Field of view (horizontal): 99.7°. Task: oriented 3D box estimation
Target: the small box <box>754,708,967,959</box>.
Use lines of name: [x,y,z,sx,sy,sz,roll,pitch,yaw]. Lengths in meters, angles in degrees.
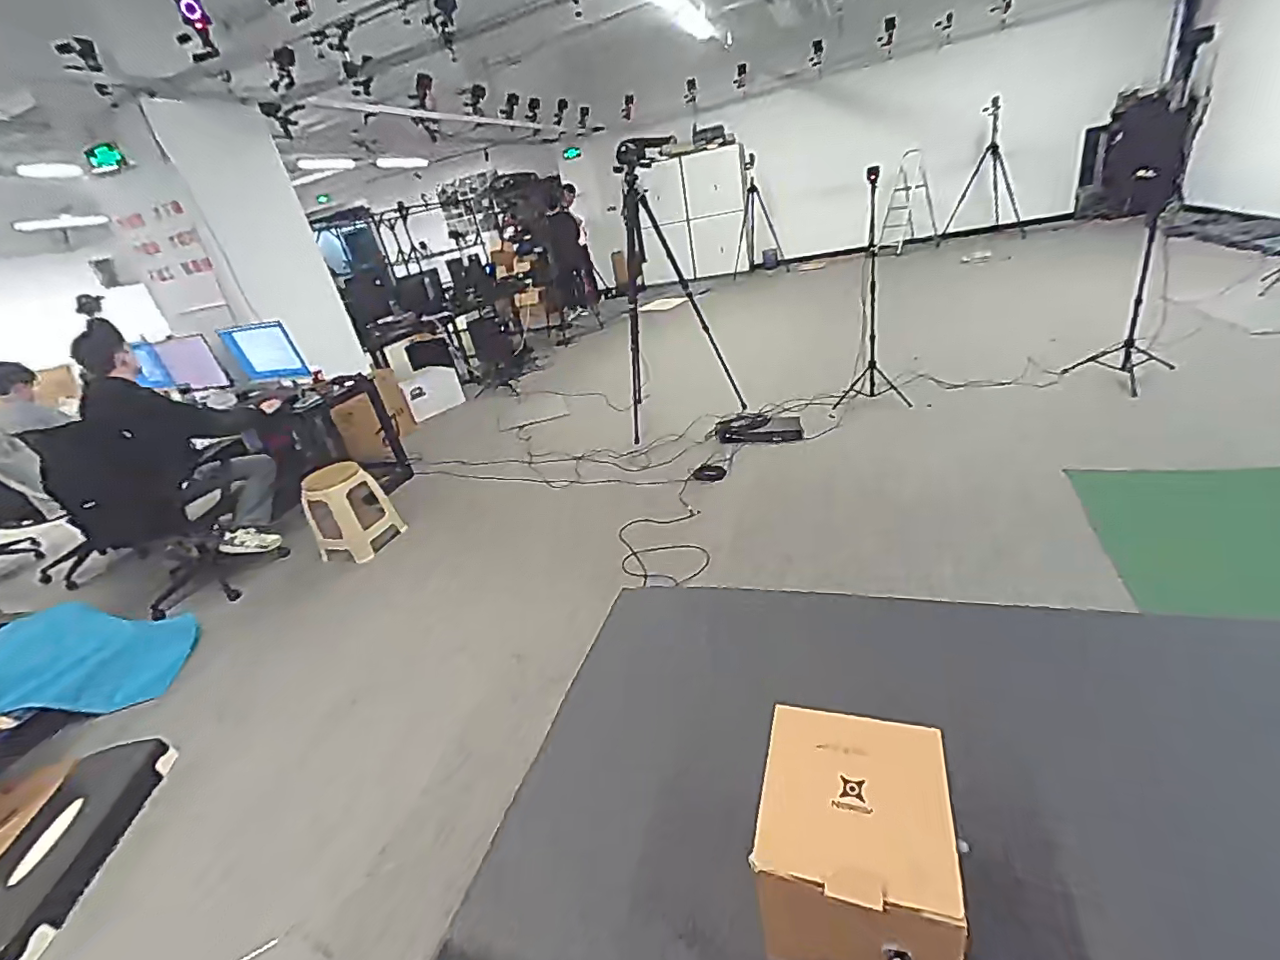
small box: [0.215,0.367,0.541,0.168,0.176,0.179,1,28,21]
